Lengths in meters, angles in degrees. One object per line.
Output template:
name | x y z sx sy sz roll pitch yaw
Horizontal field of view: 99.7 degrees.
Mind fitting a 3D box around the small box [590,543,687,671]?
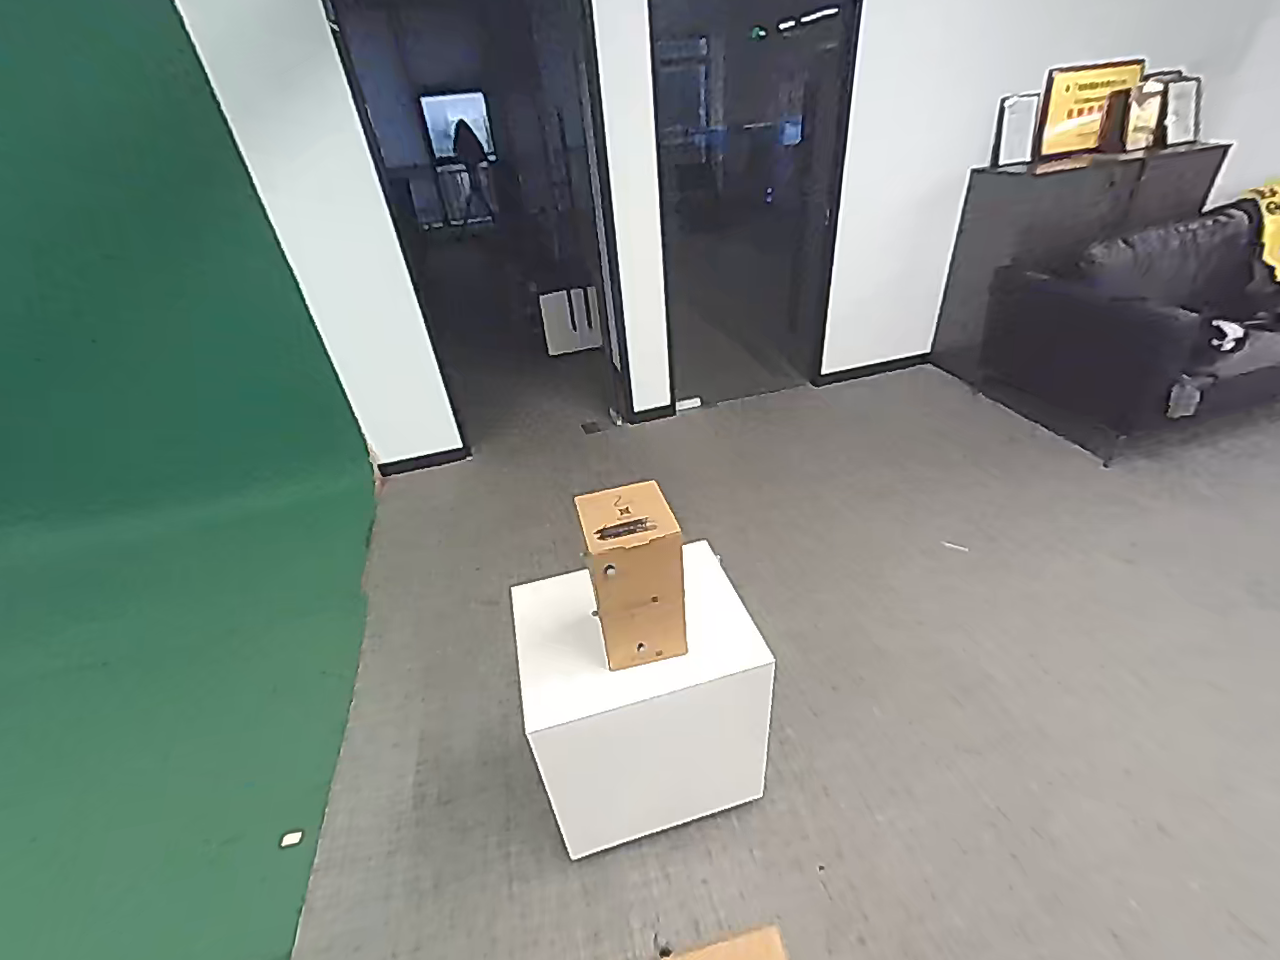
small box | -0.005 0.262 1.124 0.168 0.176 0.179 -11 33 -8
